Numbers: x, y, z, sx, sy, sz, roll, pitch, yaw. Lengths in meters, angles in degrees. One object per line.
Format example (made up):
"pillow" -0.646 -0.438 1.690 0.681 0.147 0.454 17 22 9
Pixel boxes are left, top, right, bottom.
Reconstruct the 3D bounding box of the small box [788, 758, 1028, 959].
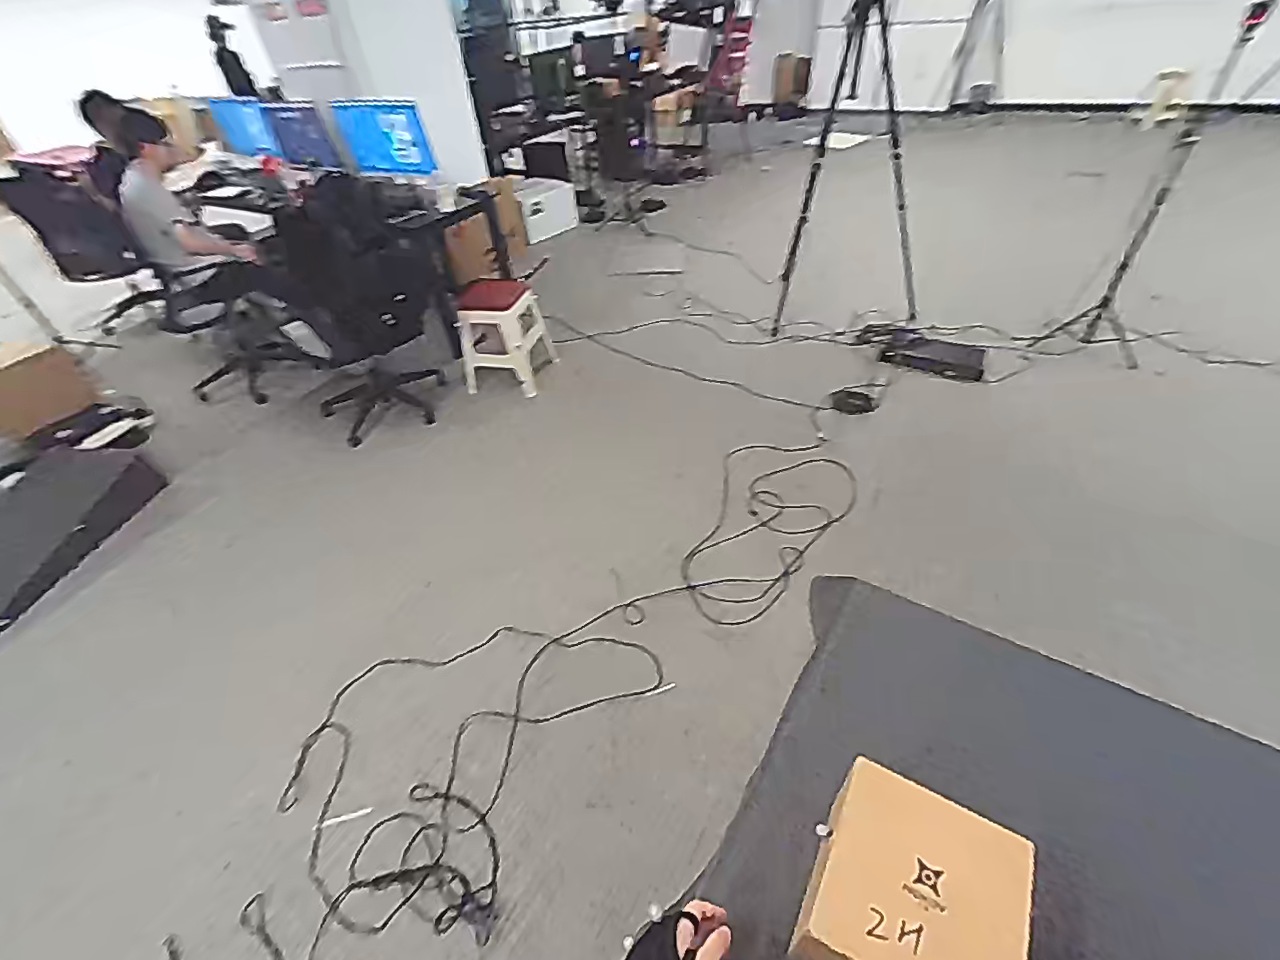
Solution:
"small box" 0.262 0.434 0.551 0.168 0.176 0.179 20 48 25
